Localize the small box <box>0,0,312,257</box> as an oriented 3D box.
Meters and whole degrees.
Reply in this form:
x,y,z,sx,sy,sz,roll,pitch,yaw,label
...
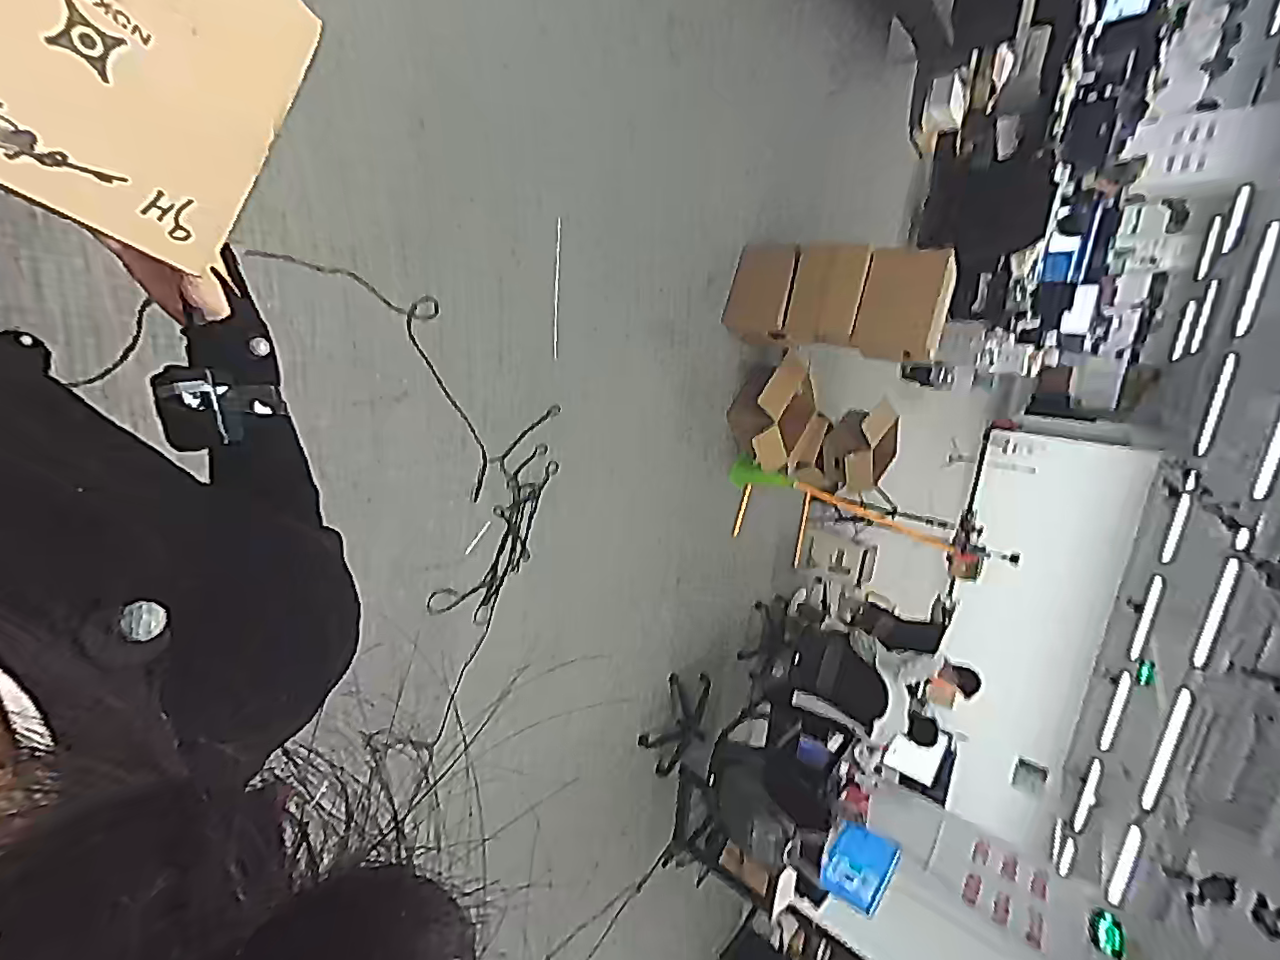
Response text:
x,y,z,sx,sy,sz,roll,pitch,yaw,label
-0.327,-0.254,0.279,0.179,0.176,0.168,-66,160,-1,small box
